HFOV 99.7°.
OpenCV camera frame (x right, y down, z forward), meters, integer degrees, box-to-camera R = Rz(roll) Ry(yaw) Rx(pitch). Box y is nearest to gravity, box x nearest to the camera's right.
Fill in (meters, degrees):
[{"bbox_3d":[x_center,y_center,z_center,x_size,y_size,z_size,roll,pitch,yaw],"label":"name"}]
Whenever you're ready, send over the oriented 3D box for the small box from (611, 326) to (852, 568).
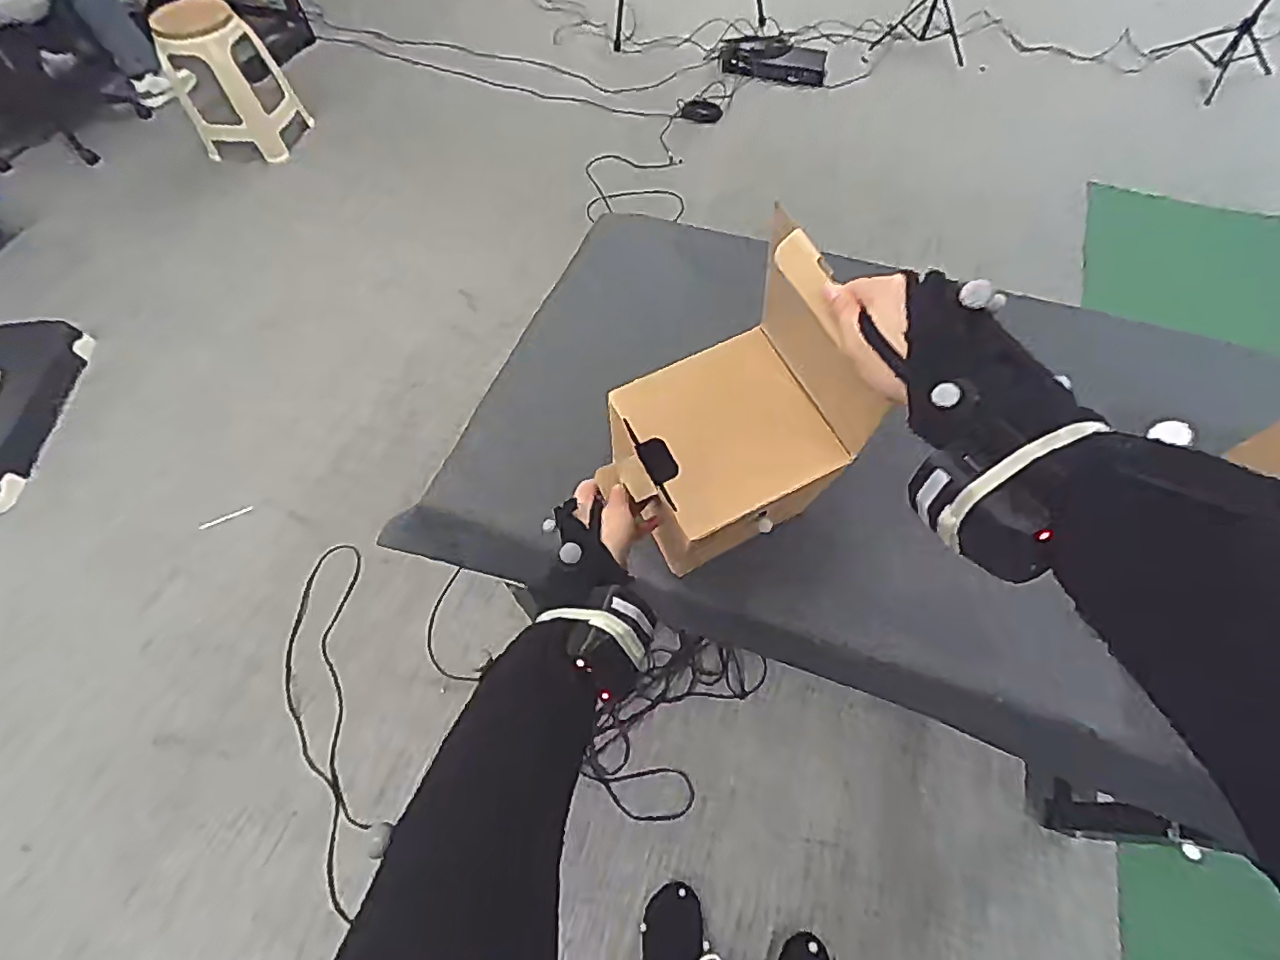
[{"bbox_3d":[0.081,-0.024,0.575,0.179,0.176,0.168,-25,73,-8],"label":"small box"}]
